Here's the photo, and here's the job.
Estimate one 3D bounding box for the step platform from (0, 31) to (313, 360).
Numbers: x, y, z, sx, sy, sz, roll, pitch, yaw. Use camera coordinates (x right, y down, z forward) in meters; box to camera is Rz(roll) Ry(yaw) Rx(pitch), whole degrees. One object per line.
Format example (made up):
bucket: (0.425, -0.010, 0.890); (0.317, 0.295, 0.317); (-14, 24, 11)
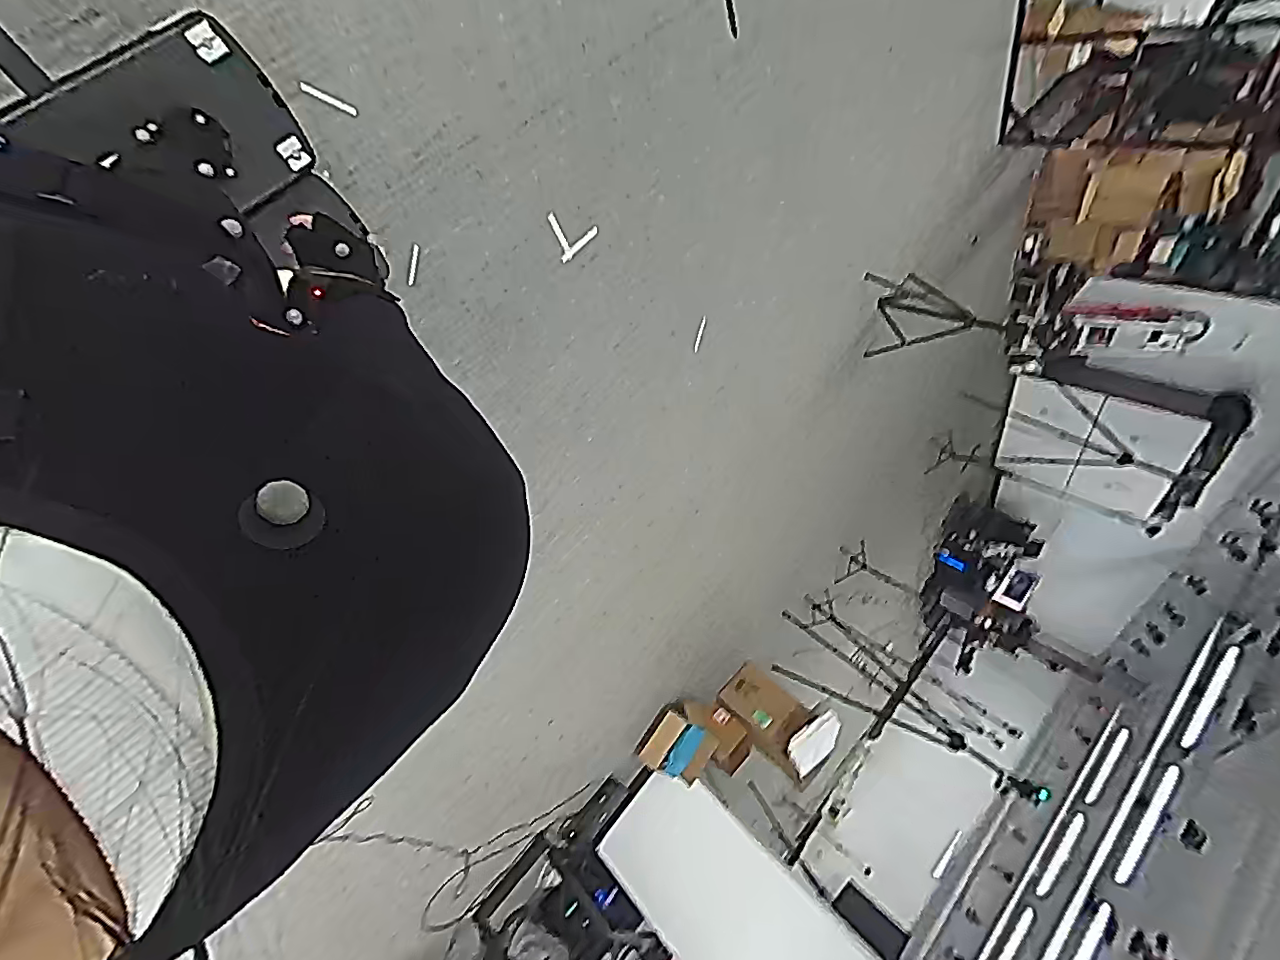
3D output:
step platform: (-1.003, -0.546, 1.039); (0.684, 0.204, 0.286); (-48, 141, -16)
